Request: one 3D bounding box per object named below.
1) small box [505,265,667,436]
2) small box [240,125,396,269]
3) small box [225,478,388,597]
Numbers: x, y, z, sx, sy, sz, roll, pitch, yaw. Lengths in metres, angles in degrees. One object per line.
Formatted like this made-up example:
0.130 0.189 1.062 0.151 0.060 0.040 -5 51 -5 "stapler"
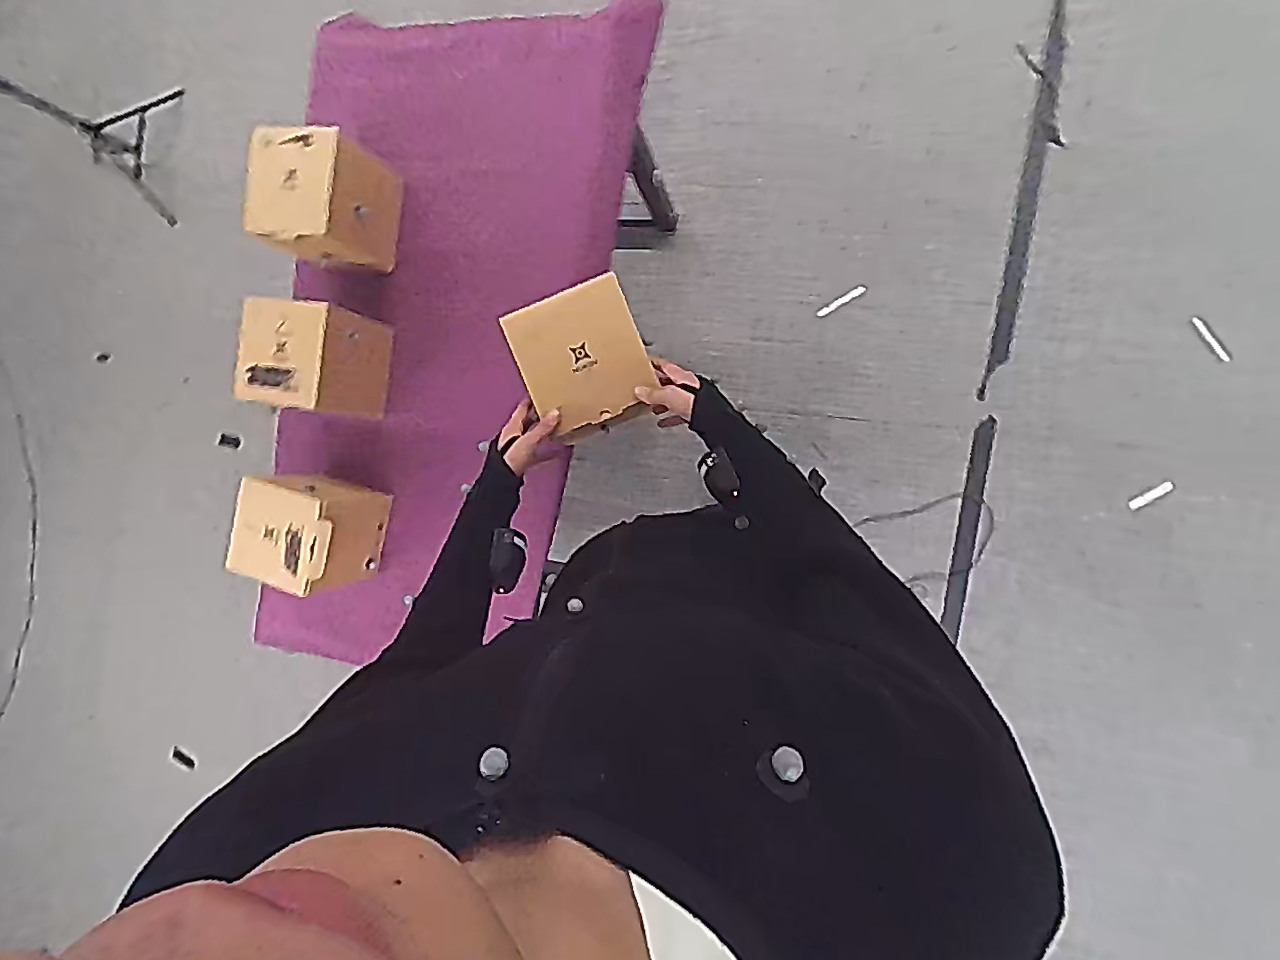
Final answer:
-0.070 -0.172 0.777 0.168 0.176 0.179 -22 93 2 "small box"
-0.556 -0.486 0.951 0.168 0.176 0.179 9 95 12 "small box"
-0.592 0.092 0.978 0.179 0.176 0.168 14 95 13 "small box"
